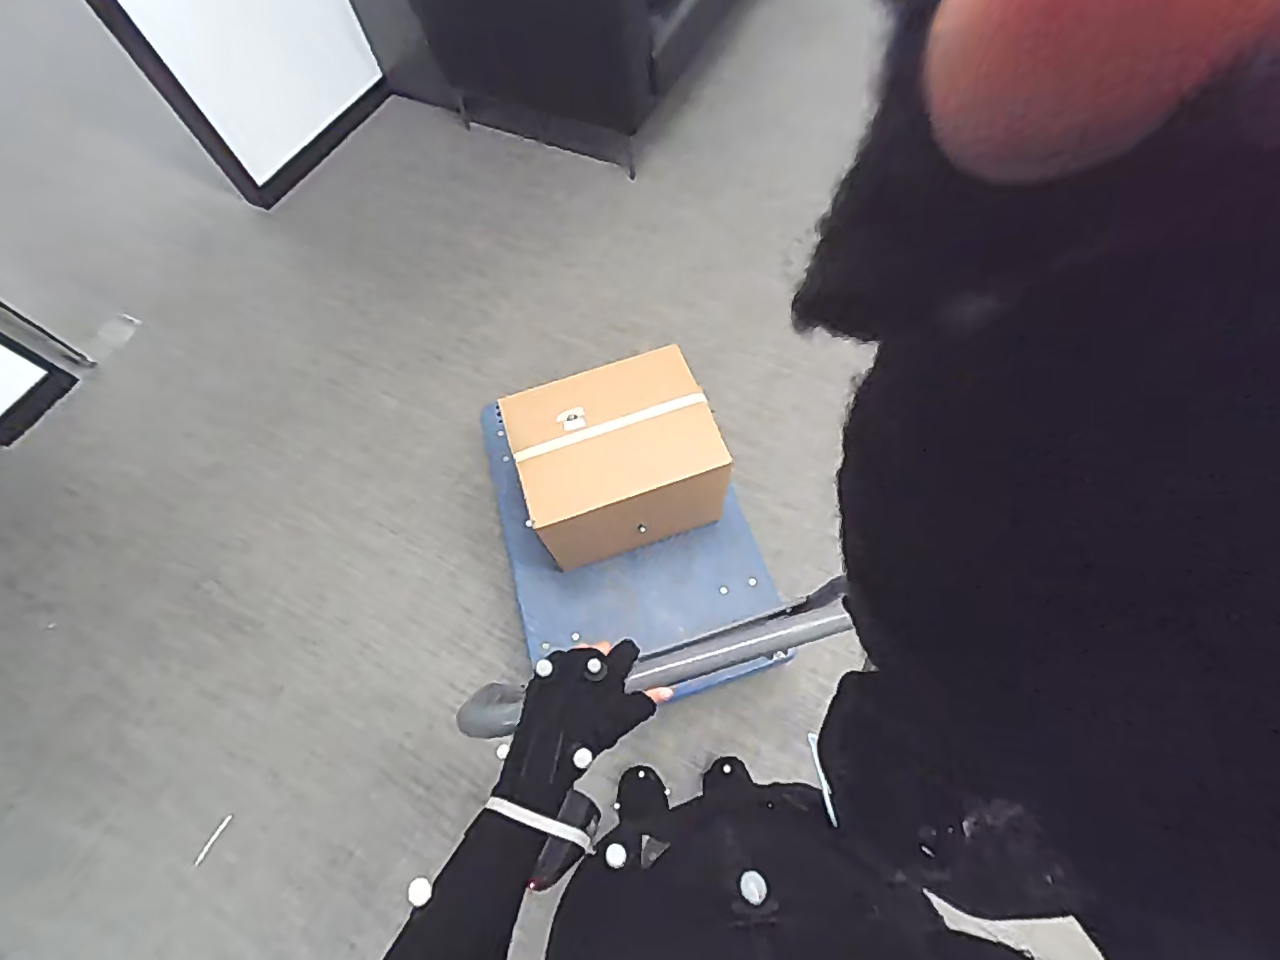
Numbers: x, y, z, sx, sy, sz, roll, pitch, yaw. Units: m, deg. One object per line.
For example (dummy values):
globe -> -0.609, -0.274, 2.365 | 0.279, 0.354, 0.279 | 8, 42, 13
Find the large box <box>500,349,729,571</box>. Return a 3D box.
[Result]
large box -> -0.050, -0.032, 1.230 | 0.408, 0.320, 0.320 | -19, 65, -5
